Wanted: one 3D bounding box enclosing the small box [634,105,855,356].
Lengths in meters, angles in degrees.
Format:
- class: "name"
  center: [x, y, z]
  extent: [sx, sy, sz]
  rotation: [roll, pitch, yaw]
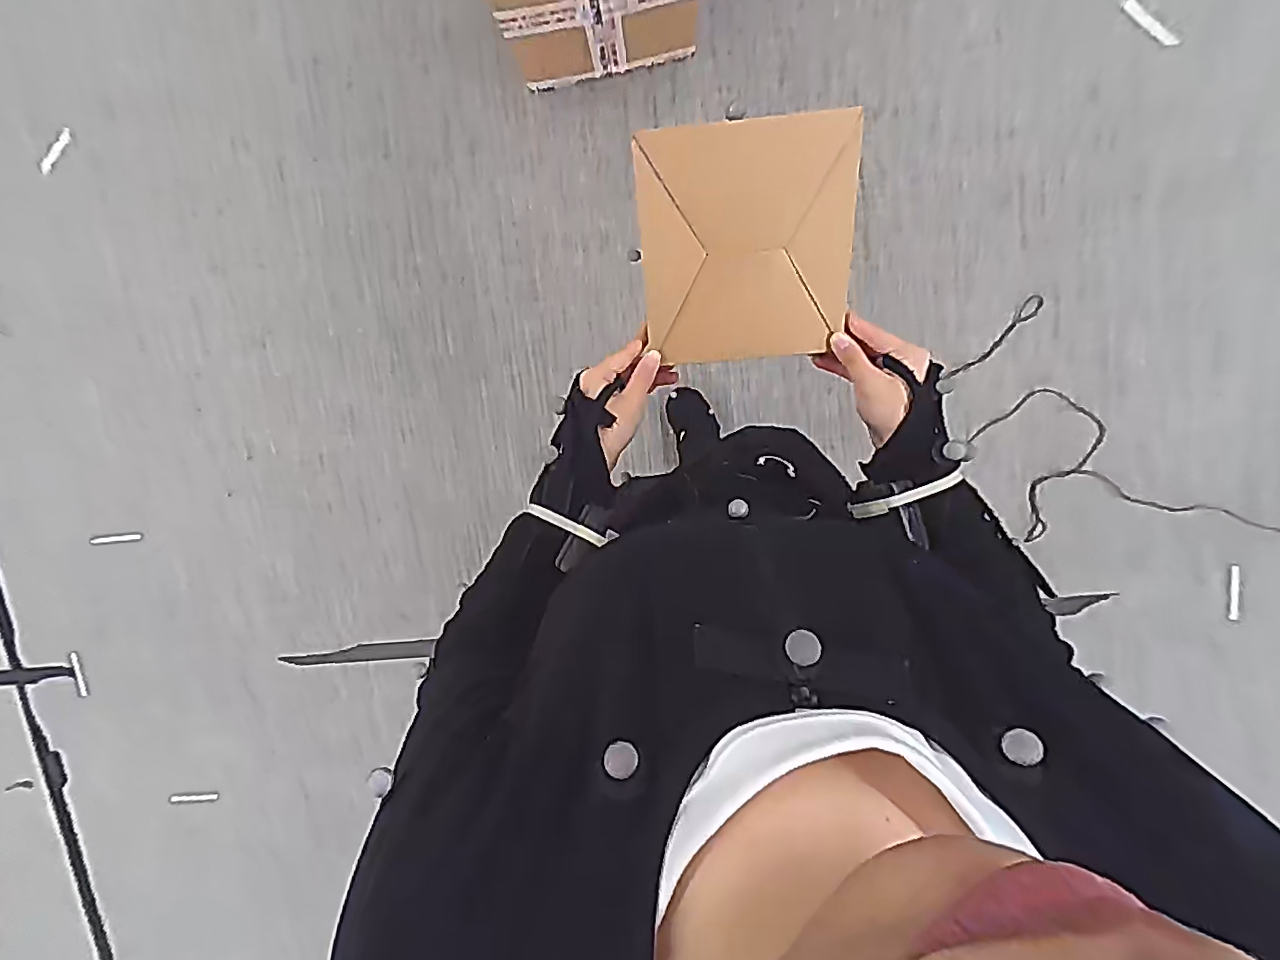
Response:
- class: "small box"
  center: [0.084, -0.225, 0.500]
  extent: [0.168, 0.176, 0.179]
  rotation: [-5, 120, 3]
